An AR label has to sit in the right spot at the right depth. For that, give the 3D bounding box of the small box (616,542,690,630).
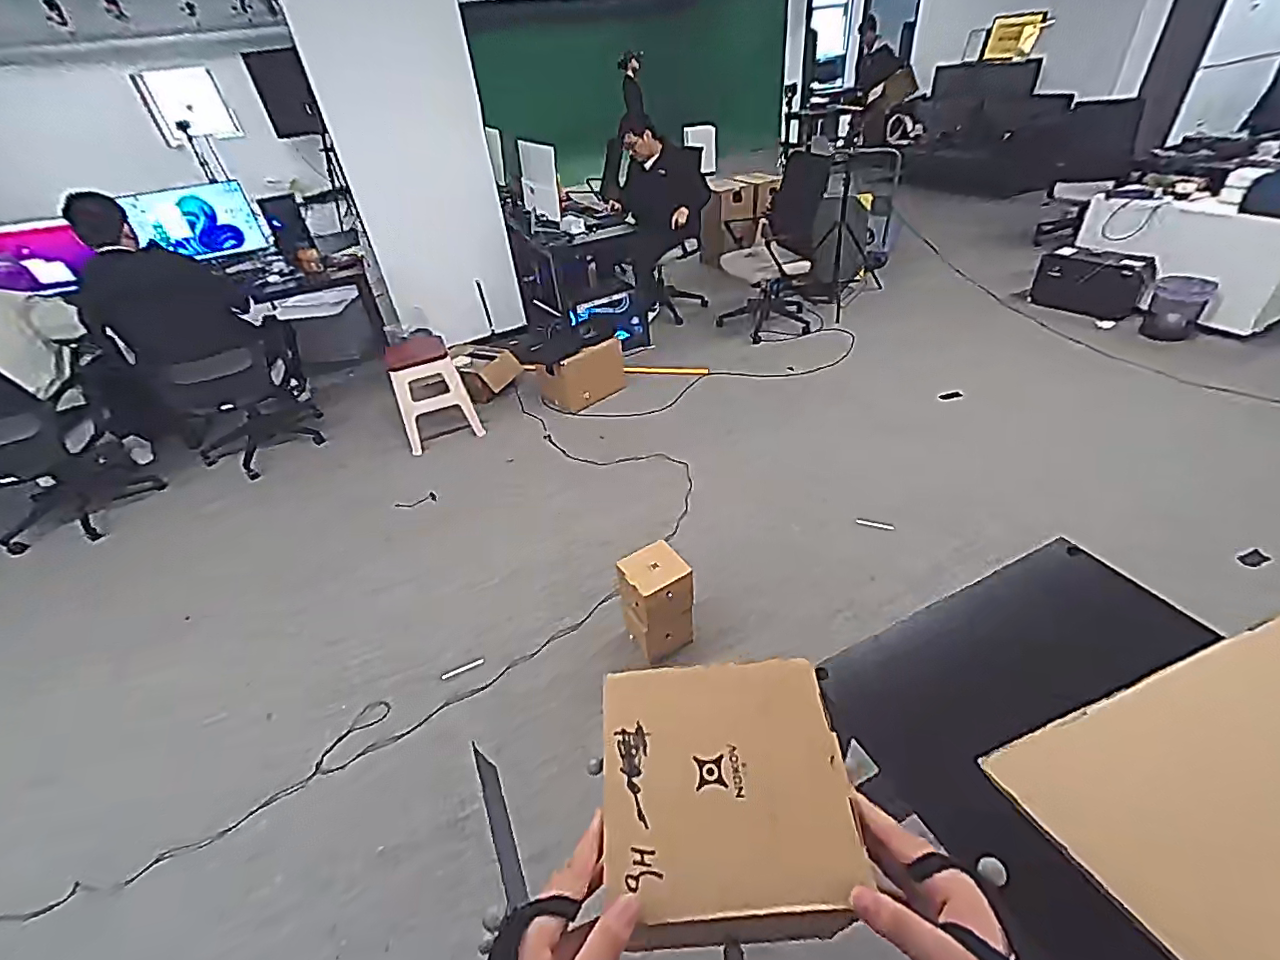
[{"bbox_3d":[0.046,0.330,1.676,0.179,0.176,0.168,-24,42,-22],"label":"small box"}]

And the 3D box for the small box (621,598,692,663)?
[{"bbox_3d":[0.055,0.461,1.773,0.179,0.176,0.168,-23,41,-19],"label":"small box"}]

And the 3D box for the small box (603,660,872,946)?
[{"bbox_3d":[0.061,0.271,0.454,0.179,0.176,0.168,-4,43,-1],"label":"small box"}]
